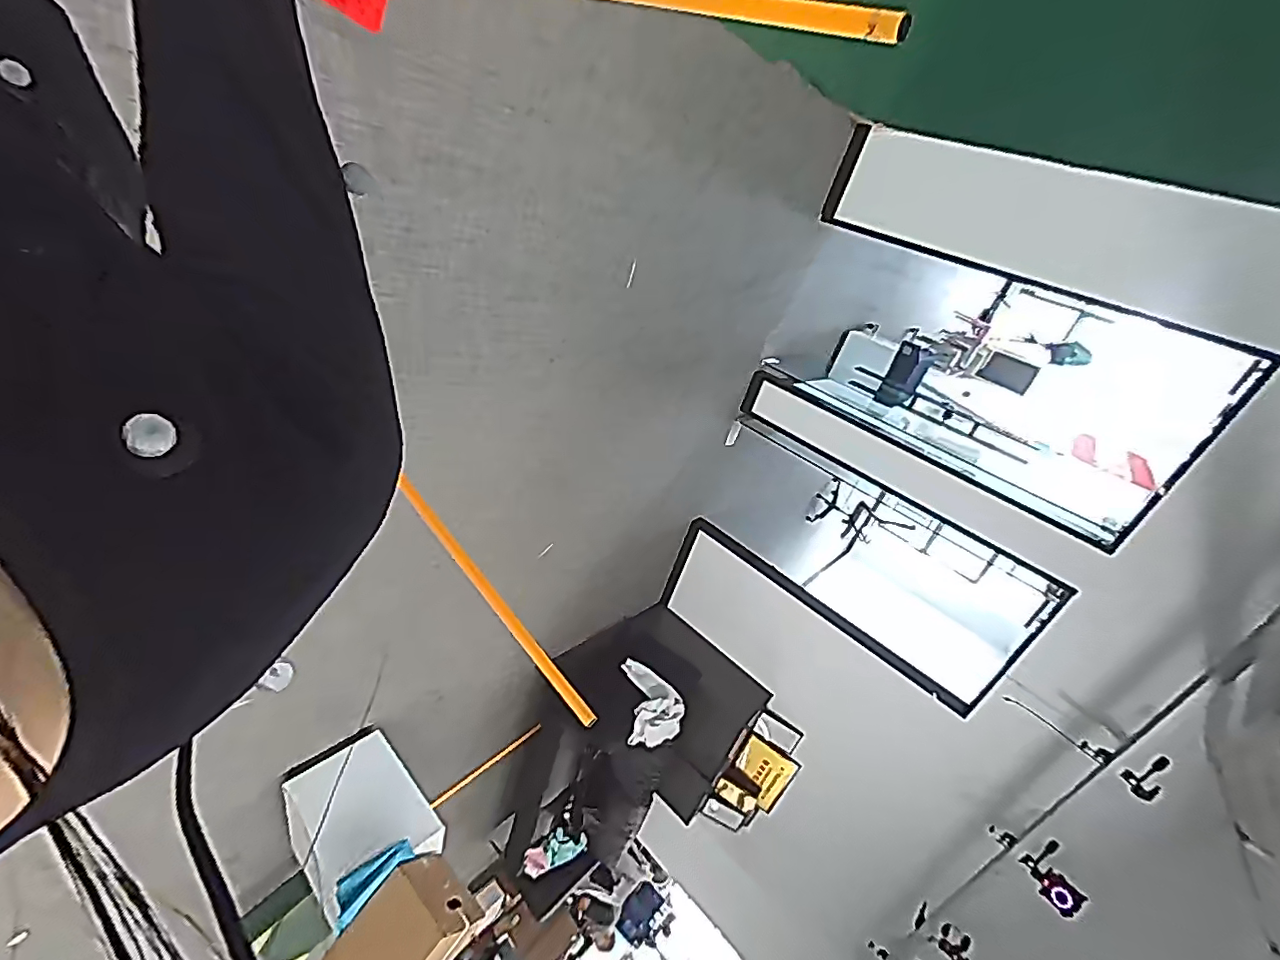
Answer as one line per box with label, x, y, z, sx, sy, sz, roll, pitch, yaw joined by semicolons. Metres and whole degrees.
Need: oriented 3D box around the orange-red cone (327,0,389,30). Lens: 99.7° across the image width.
orange-red cone;-0.476;-0.984;1.013;0.198;0.360;0.199;0;122;-55
